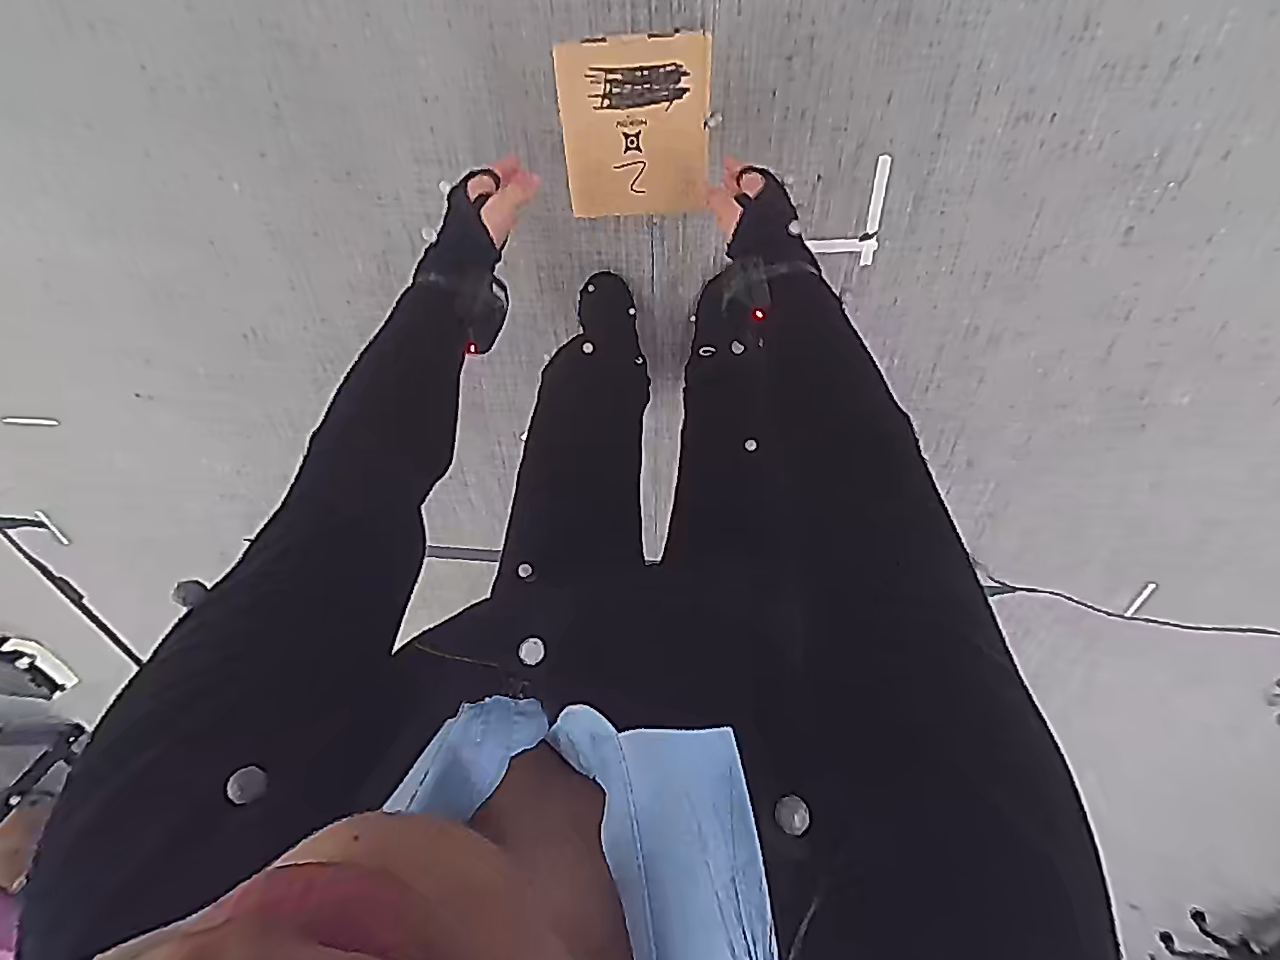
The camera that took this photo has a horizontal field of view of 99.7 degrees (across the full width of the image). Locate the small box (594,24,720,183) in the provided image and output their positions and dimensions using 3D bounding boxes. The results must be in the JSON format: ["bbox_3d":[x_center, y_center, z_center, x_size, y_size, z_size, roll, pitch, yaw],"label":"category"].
[{"bbox_3d":[0.028,-0.554,0.803,0.168,0.176,0.179,1,128,6],"label":"small box"}]
